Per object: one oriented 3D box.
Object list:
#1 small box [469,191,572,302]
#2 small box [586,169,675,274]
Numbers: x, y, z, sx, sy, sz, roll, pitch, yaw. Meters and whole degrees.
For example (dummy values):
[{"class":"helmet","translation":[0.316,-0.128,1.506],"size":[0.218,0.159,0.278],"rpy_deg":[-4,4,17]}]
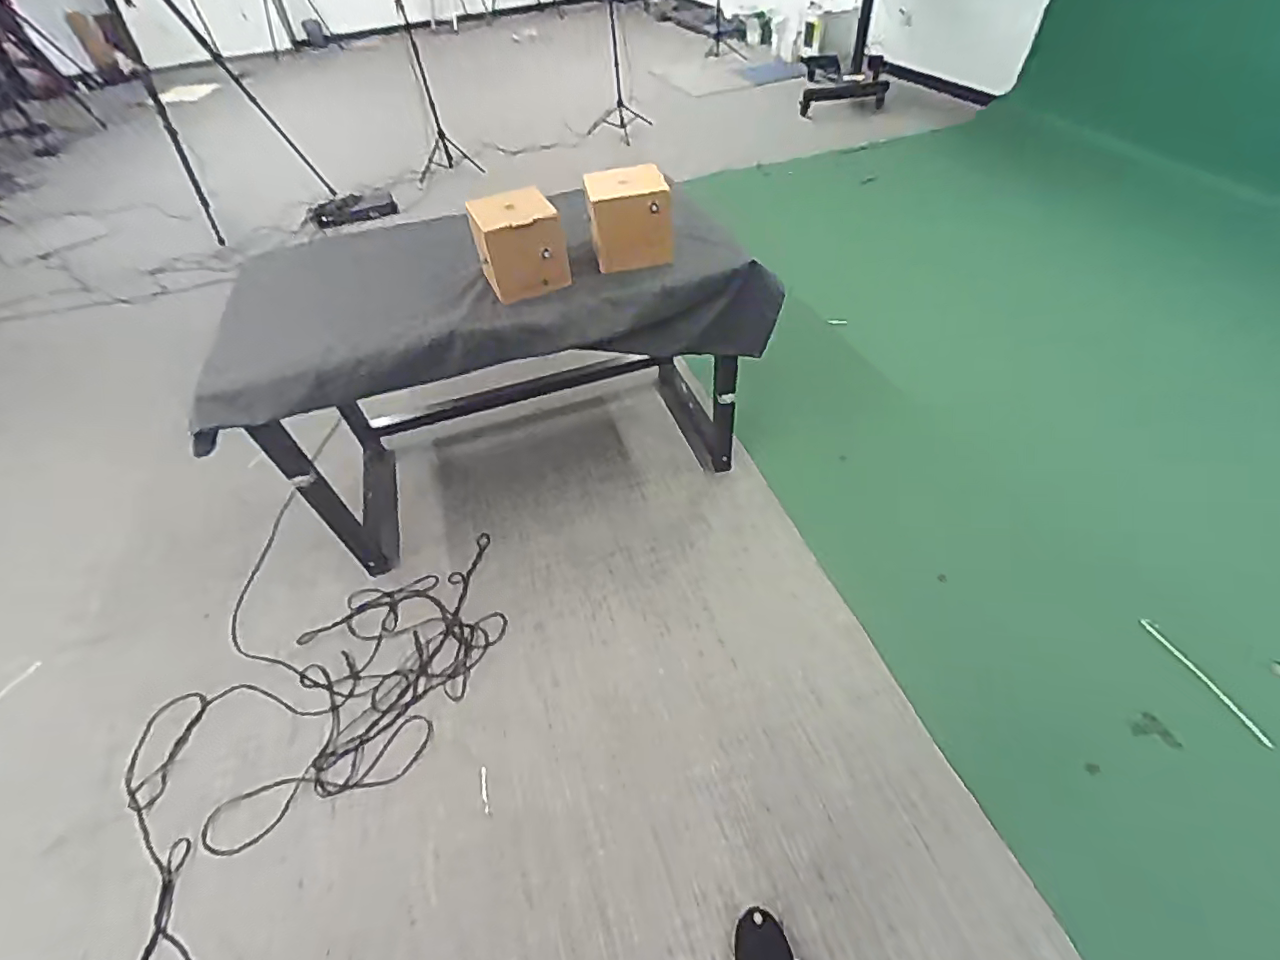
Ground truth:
[{"class":"small box","translation":[-0.264,-0.519,1.215],"size":[0.168,0.176,0.179],"rpy_deg":[-21,49,-15]},{"class":"small box","translation":[-0.021,-0.599,1.260],"size":[0.179,0.176,0.168],"rpy_deg":[-11,48,-4]}]
